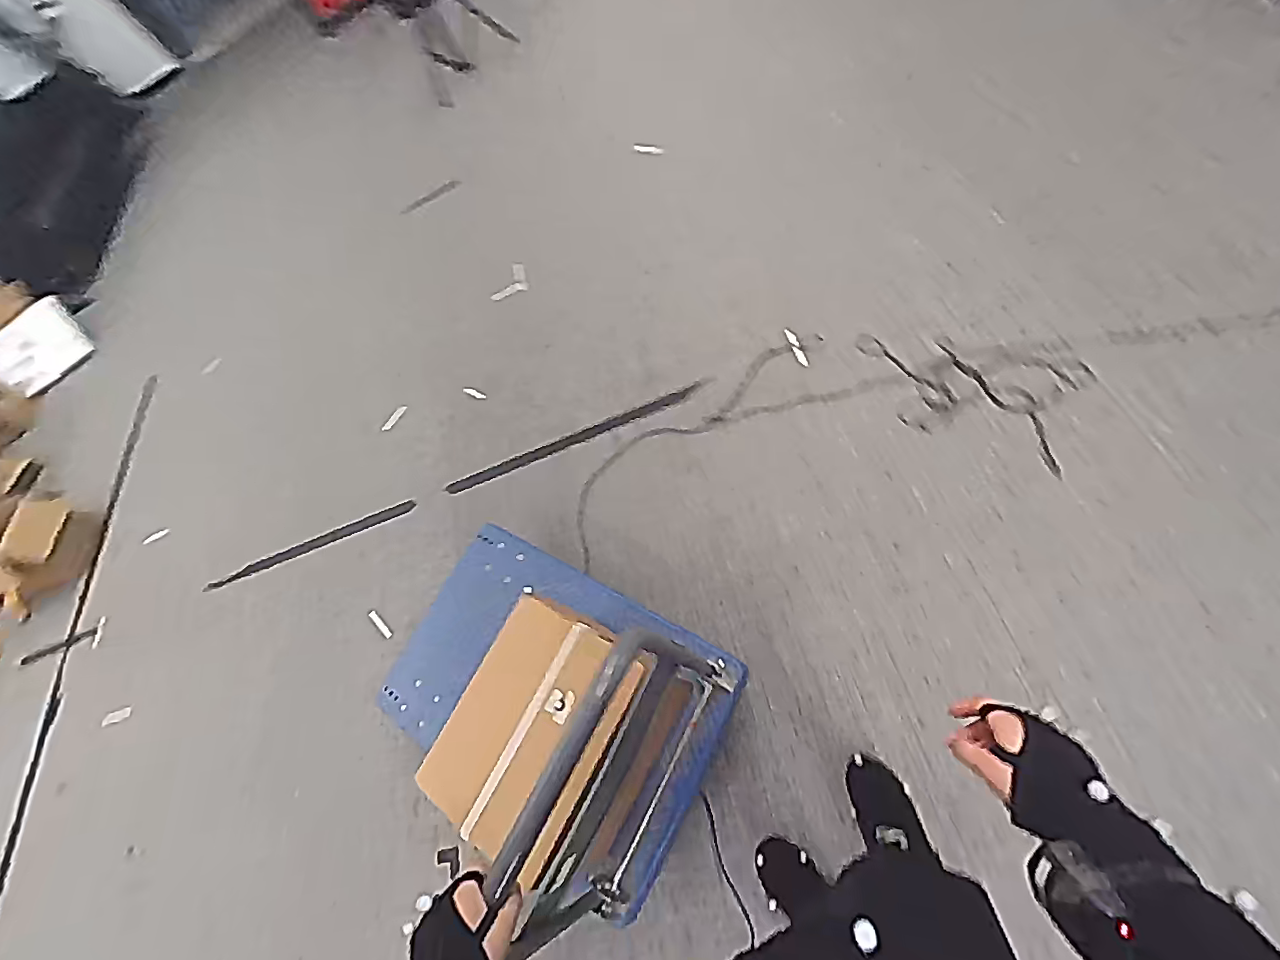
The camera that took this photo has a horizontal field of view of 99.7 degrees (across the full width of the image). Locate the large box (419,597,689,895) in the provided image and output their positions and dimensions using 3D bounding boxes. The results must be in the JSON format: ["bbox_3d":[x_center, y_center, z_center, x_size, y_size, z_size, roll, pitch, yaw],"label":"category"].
[{"bbox_3d":[-0.152,0.518,1.109,0.320,0.320,0.408,23,75,29],"label":"large box"}]
